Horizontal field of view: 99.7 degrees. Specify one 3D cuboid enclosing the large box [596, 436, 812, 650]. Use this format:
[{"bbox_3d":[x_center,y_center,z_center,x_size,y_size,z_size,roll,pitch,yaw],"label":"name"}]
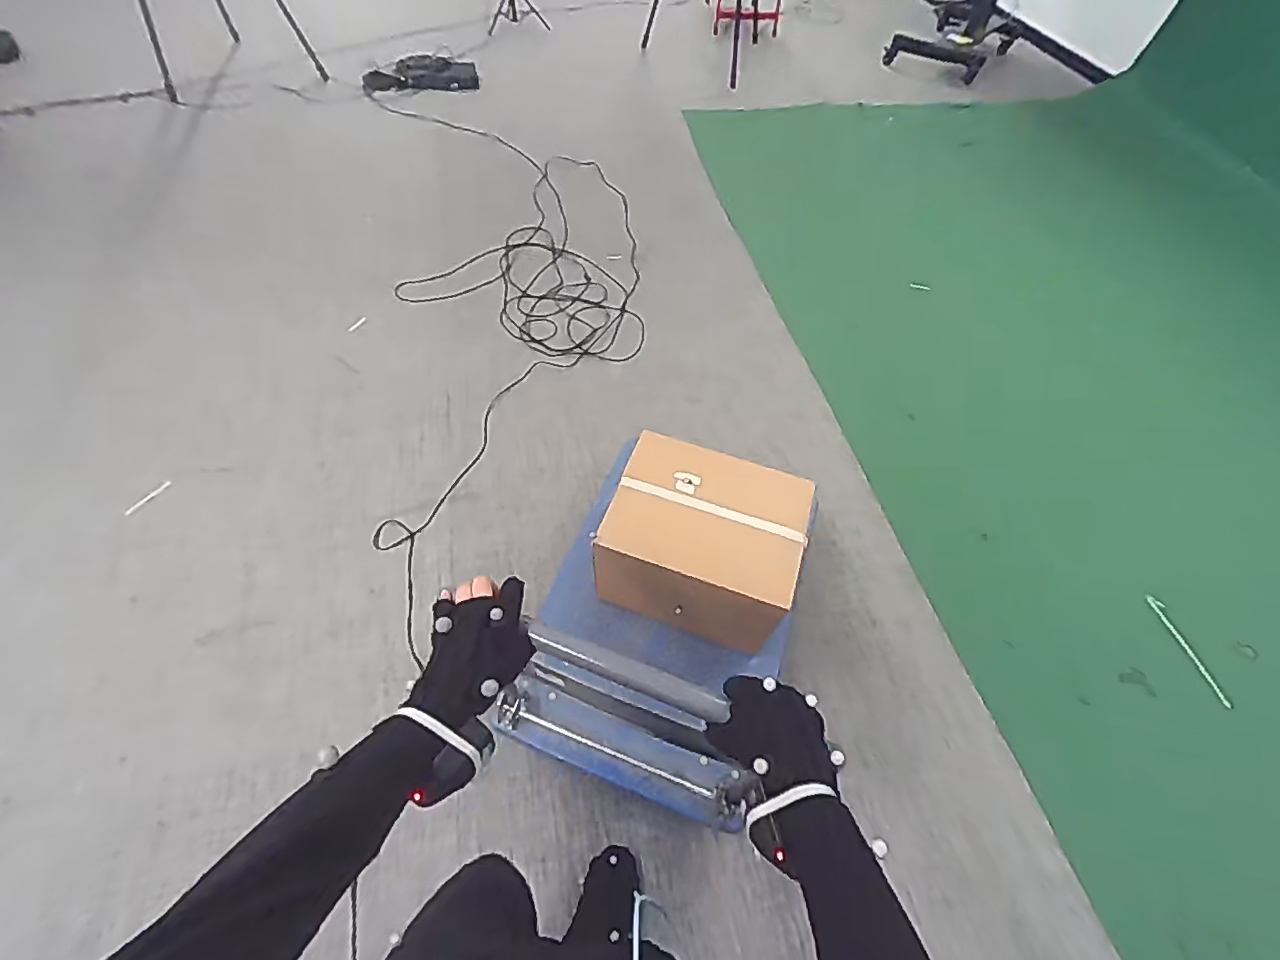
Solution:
[{"bbox_3d":[0.143,0.154,1.265,0.408,0.320,0.320,17,57,9],"label":"large box"}]
